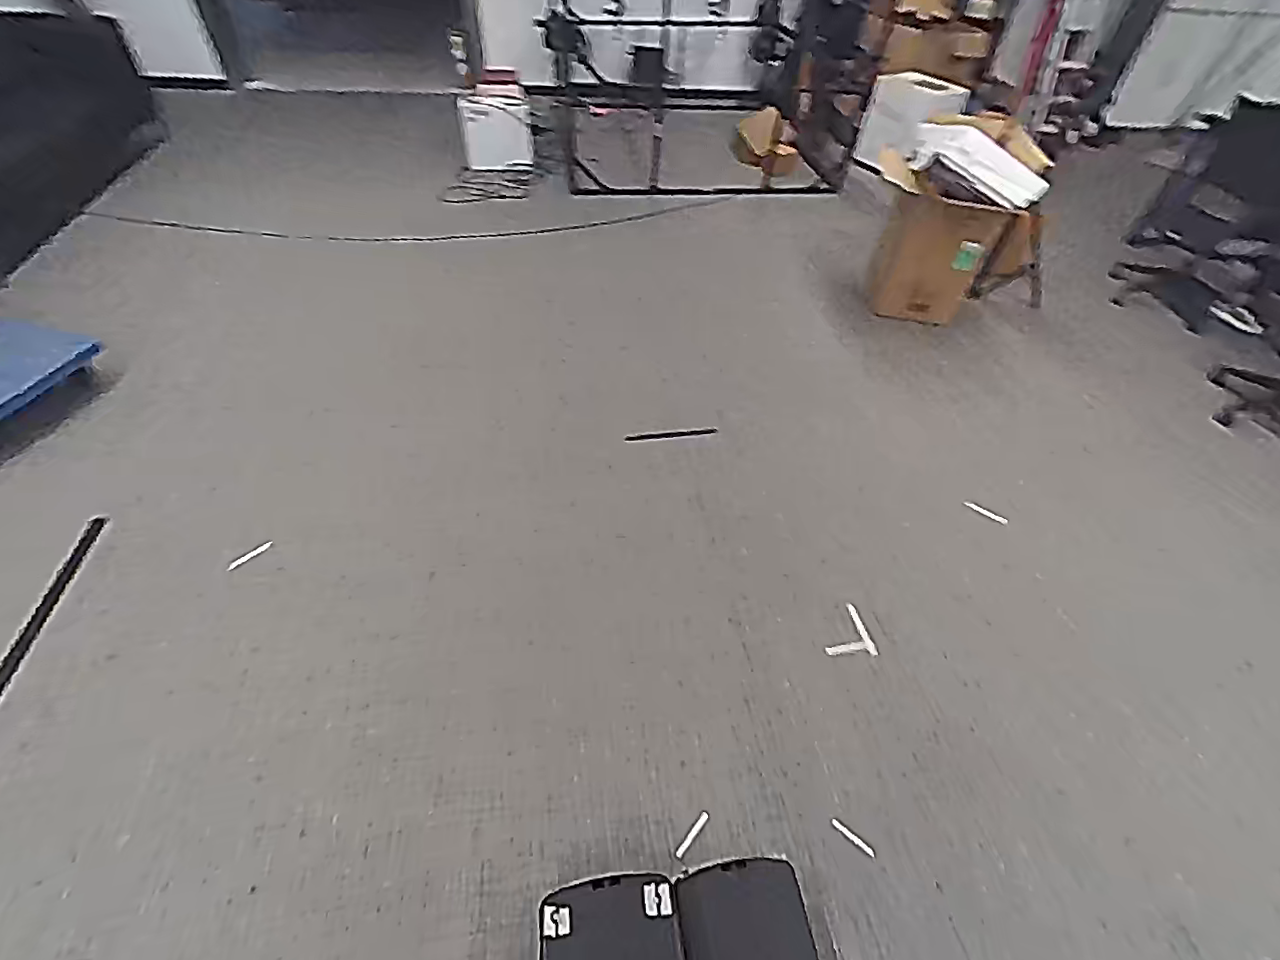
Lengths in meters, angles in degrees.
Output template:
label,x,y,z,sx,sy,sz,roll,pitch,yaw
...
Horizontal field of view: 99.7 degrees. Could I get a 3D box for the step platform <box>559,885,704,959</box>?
label,x,y,z,sx,sy,sz,roll,pitch,yaw
step platform,-0.003,1.129,0.938,0.286,0.204,0.684,-2,46,-5
